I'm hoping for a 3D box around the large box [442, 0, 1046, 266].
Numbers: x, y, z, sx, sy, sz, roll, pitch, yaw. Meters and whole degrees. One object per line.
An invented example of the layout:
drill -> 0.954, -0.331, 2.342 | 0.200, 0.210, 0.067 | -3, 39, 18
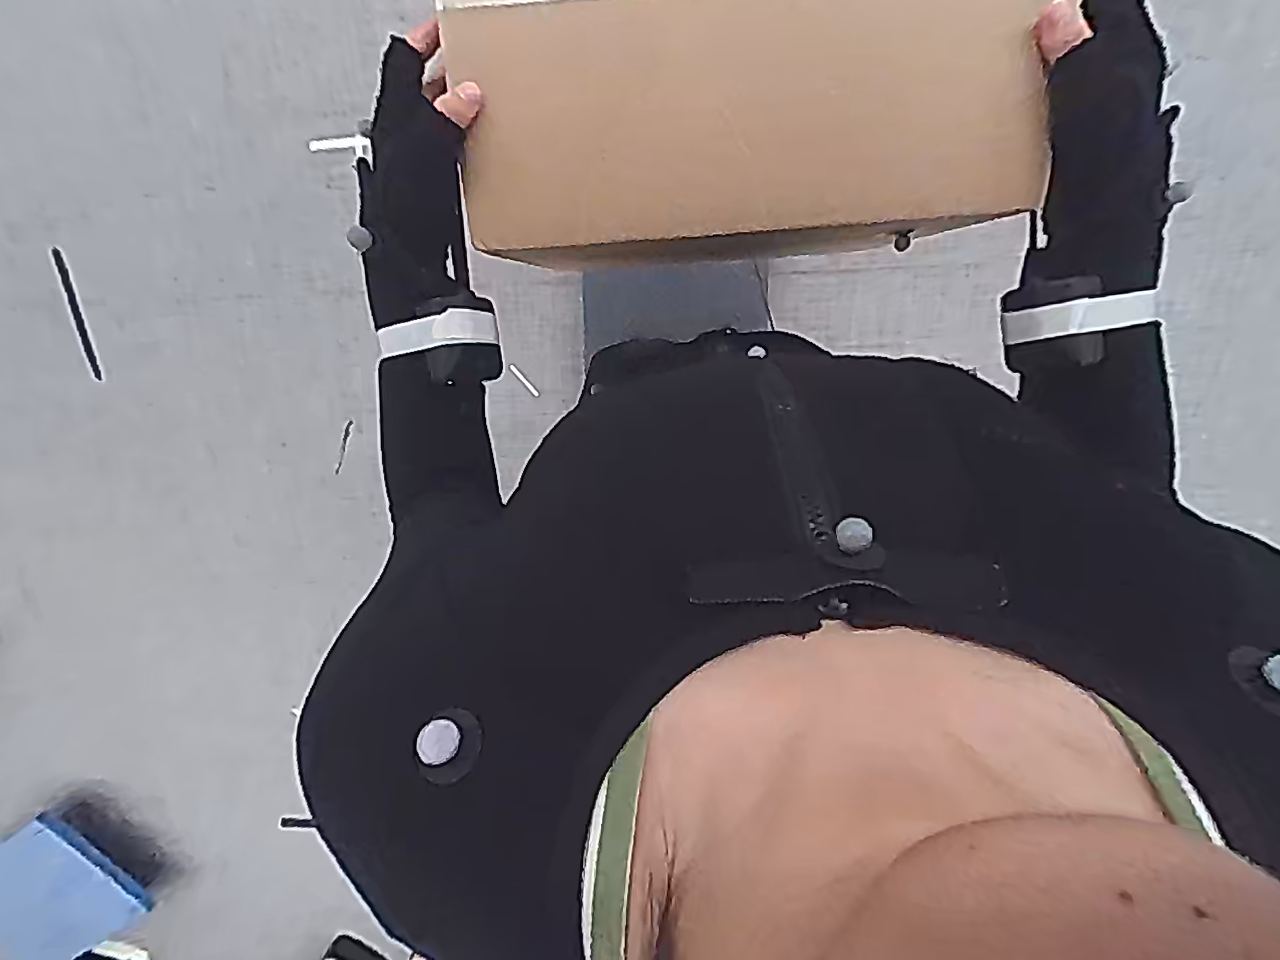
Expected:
large box -> 0.070, -0.377, 0.490 | 0.408, 0.320, 0.320 | -3, 108, 2
